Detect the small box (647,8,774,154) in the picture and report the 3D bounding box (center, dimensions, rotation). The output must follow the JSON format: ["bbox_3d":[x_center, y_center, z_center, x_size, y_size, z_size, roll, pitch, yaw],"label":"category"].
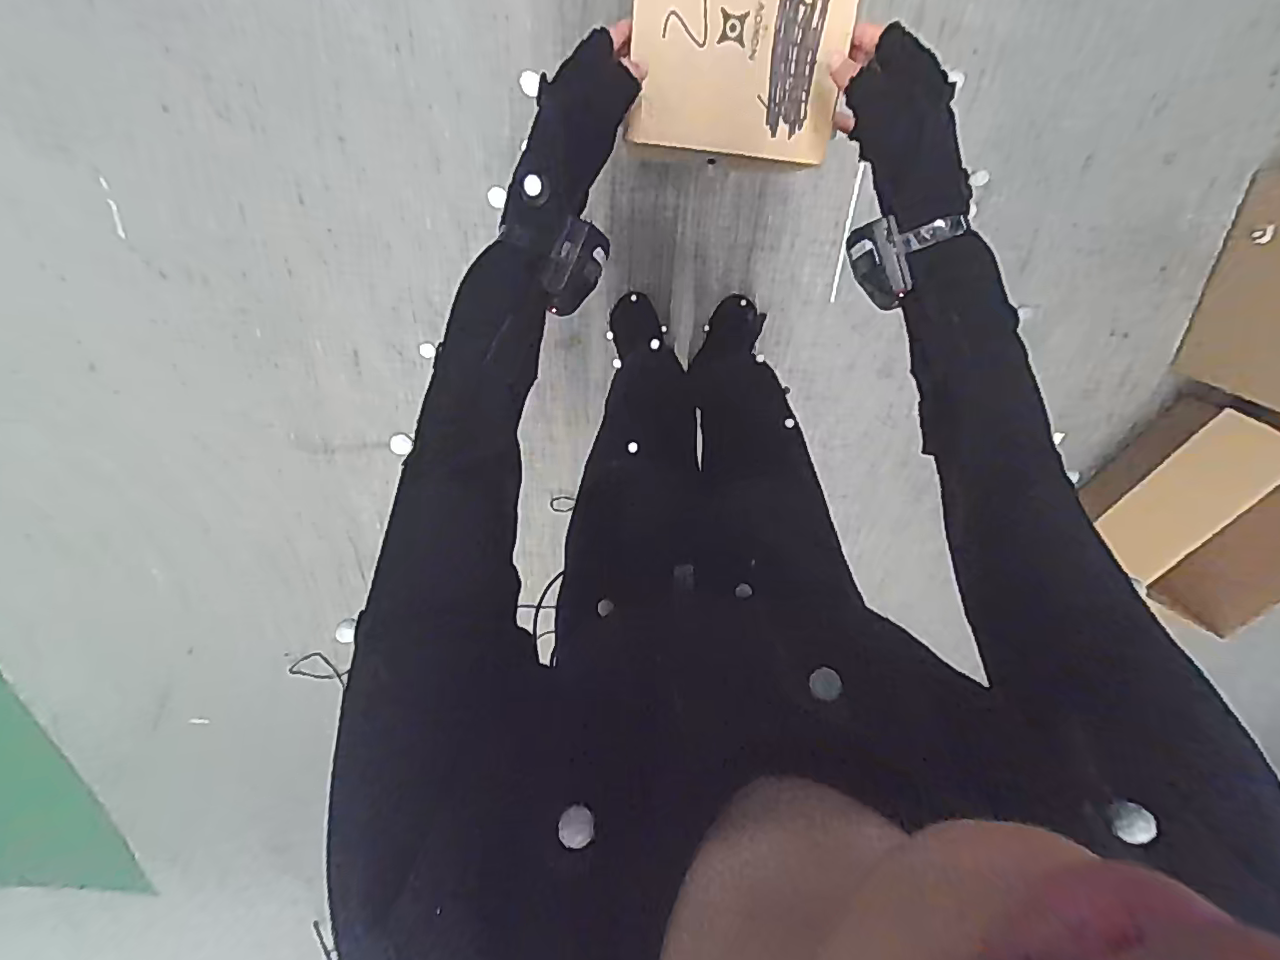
[{"bbox_3d":[0.112,-0.677,0.940,0.179,0.176,0.168,9,119,-4],"label":"small box"}]
